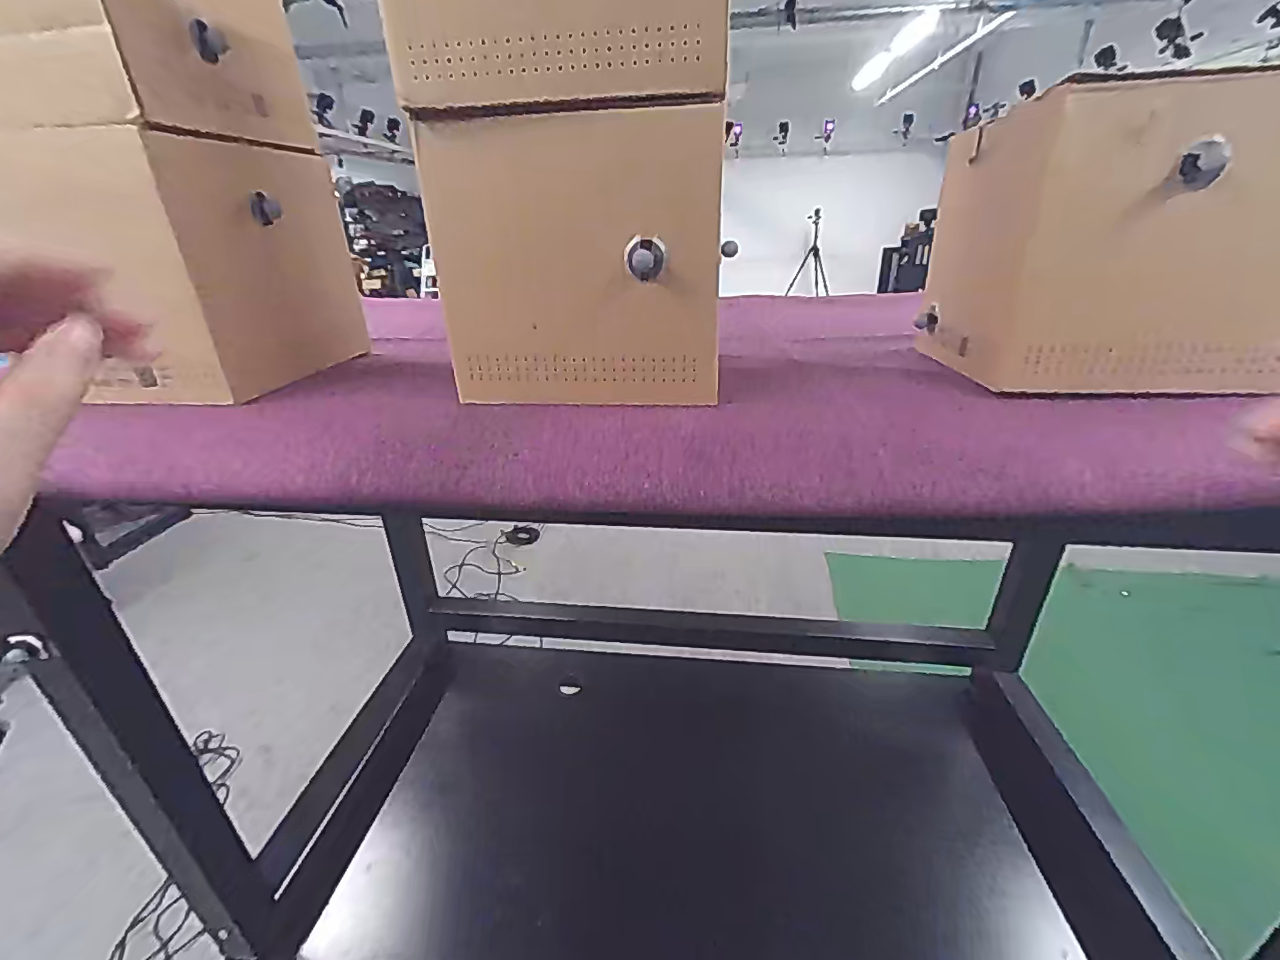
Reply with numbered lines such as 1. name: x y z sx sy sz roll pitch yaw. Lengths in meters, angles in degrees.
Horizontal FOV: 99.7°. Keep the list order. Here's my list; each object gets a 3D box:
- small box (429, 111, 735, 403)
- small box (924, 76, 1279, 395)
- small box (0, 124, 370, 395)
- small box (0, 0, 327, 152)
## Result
1. small box: -0.025 -0.159 0.405 0.179 0.176 0.168 1 25 6
2. small box: 0.323 -0.159 0.386 0.179 0.176 0.168 3 23 8
3. small box: -0.345 -0.170 0.432 0.168 0.176 0.179 3 25 5
4. small box: -0.353 -0.316 0.361 0.179 0.176 0.168 2 26 3
